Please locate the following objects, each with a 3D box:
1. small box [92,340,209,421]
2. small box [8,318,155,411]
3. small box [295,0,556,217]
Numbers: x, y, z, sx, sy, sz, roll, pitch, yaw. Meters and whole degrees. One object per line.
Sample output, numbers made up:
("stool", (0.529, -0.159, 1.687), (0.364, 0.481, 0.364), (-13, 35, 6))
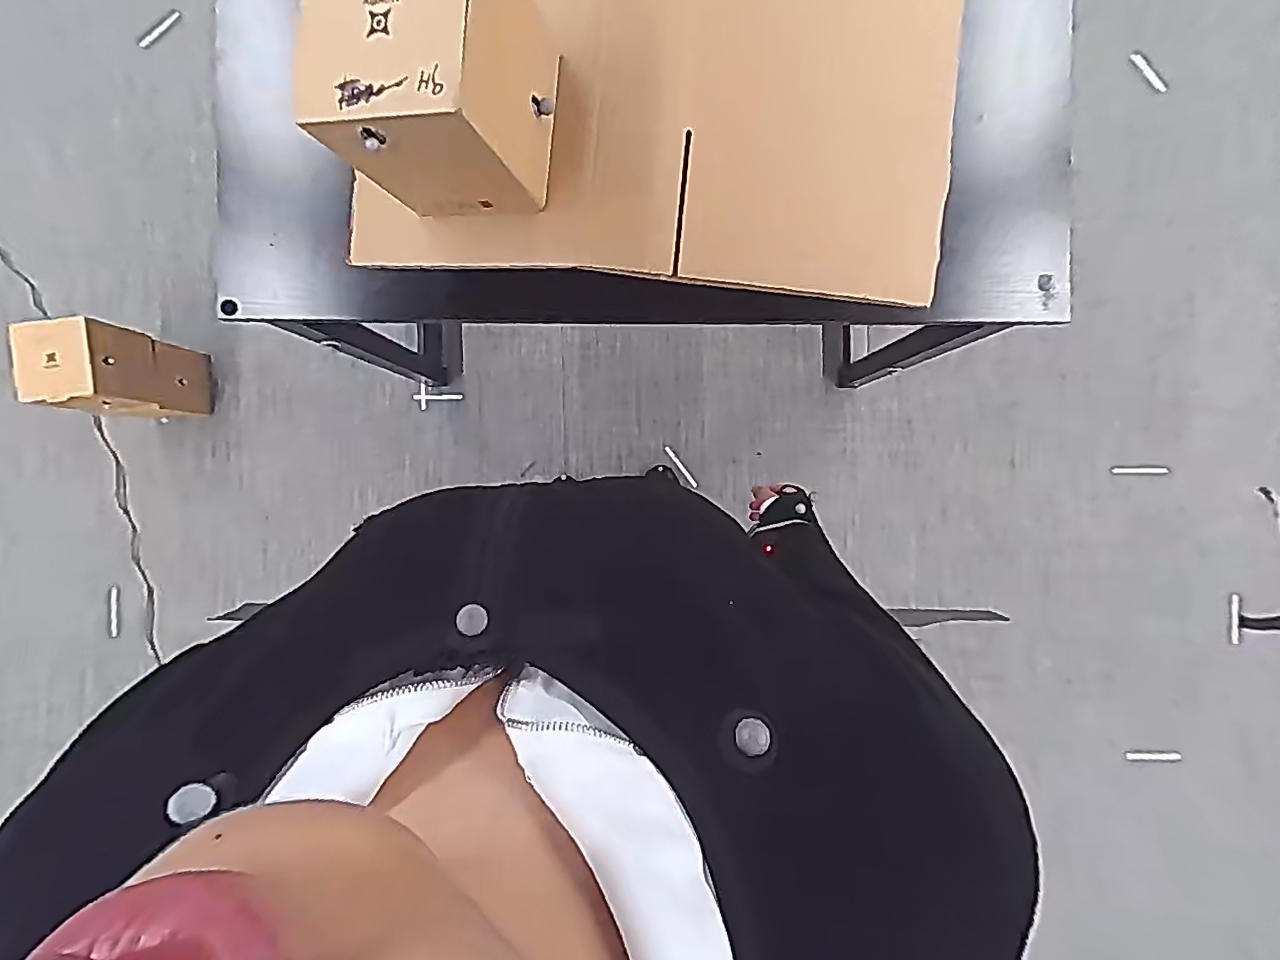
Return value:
("small box", (-1.271, -0.254, 1.408), (0.168, 0.176, 0.179), (-4, 91, 0))
("small box", (-1.272, -0.257, 1.245), (0.168, 0.176, 0.179), (-7, 90, -1))
("small box", (-0.192, -0.385, 0.528), (0.168, 0.176, 0.179), (6, 90, 14))
